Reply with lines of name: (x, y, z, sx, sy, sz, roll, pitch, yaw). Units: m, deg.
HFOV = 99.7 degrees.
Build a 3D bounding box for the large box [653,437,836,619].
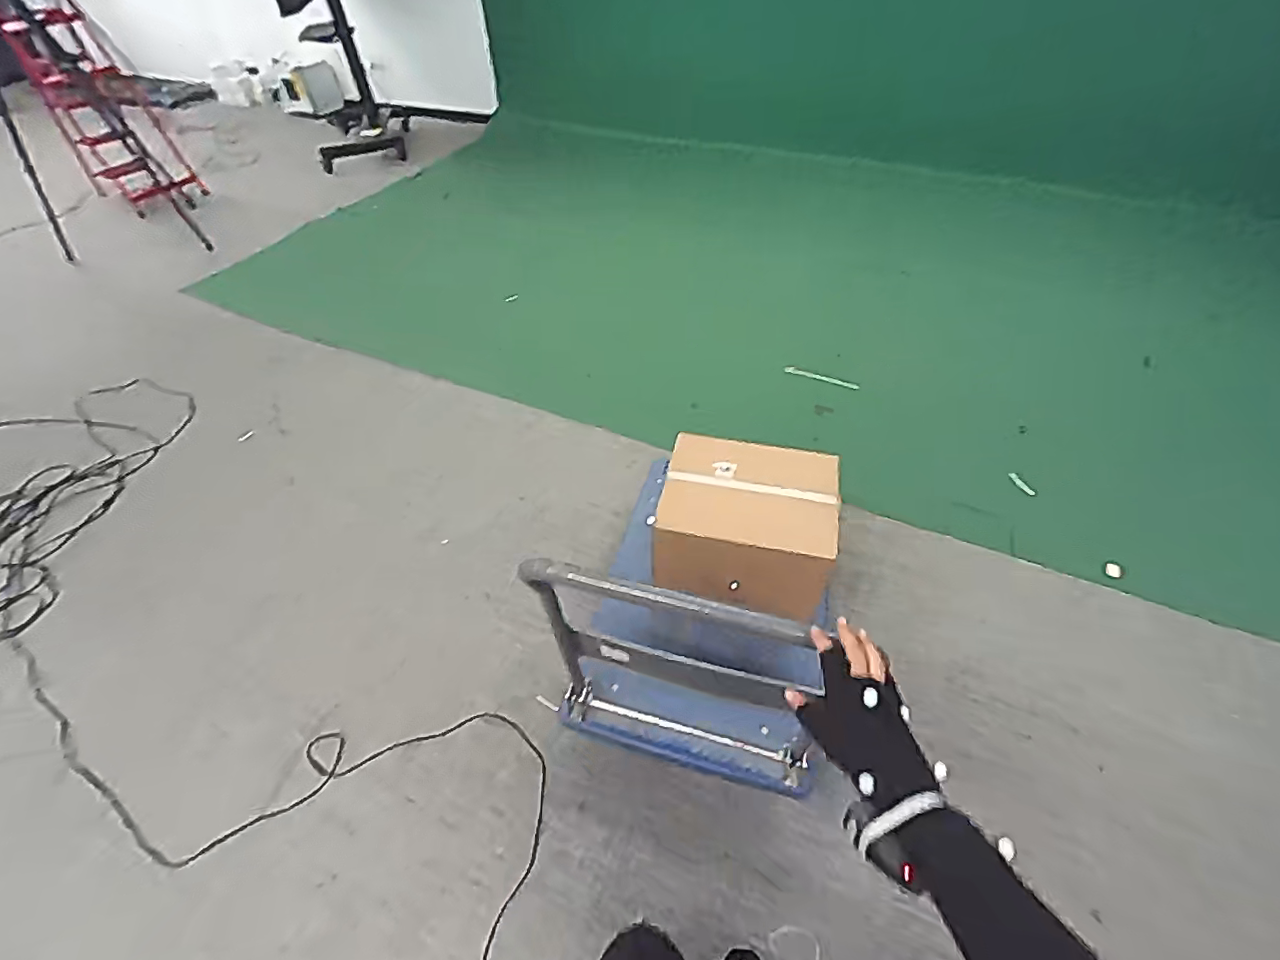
large box: (0.267, 0.123, 1.390, 0.408, 0.320, 0.320, 9, 49, 12)
